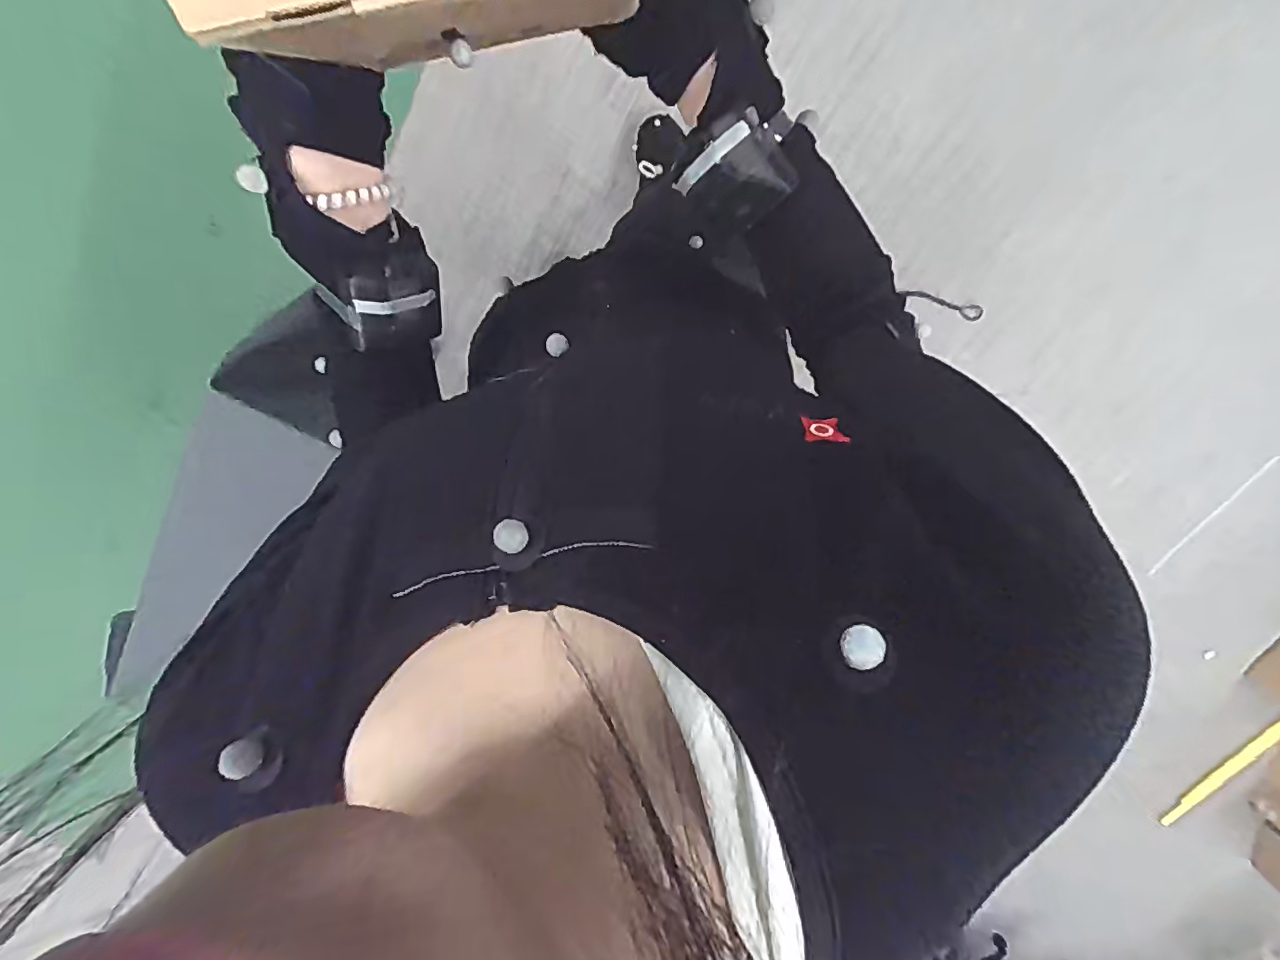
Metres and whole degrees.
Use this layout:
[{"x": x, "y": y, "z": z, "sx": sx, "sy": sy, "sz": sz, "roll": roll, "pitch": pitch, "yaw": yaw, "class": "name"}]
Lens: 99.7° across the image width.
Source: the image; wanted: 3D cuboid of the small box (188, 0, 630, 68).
[{"x": -0.095, "y": -0.288, "z": 0.212, "sx": 0.168, "sy": 0.176, "sz": 0.179, "roll": -9, "pitch": 125, "yaw": 5, "class": "small box"}]
